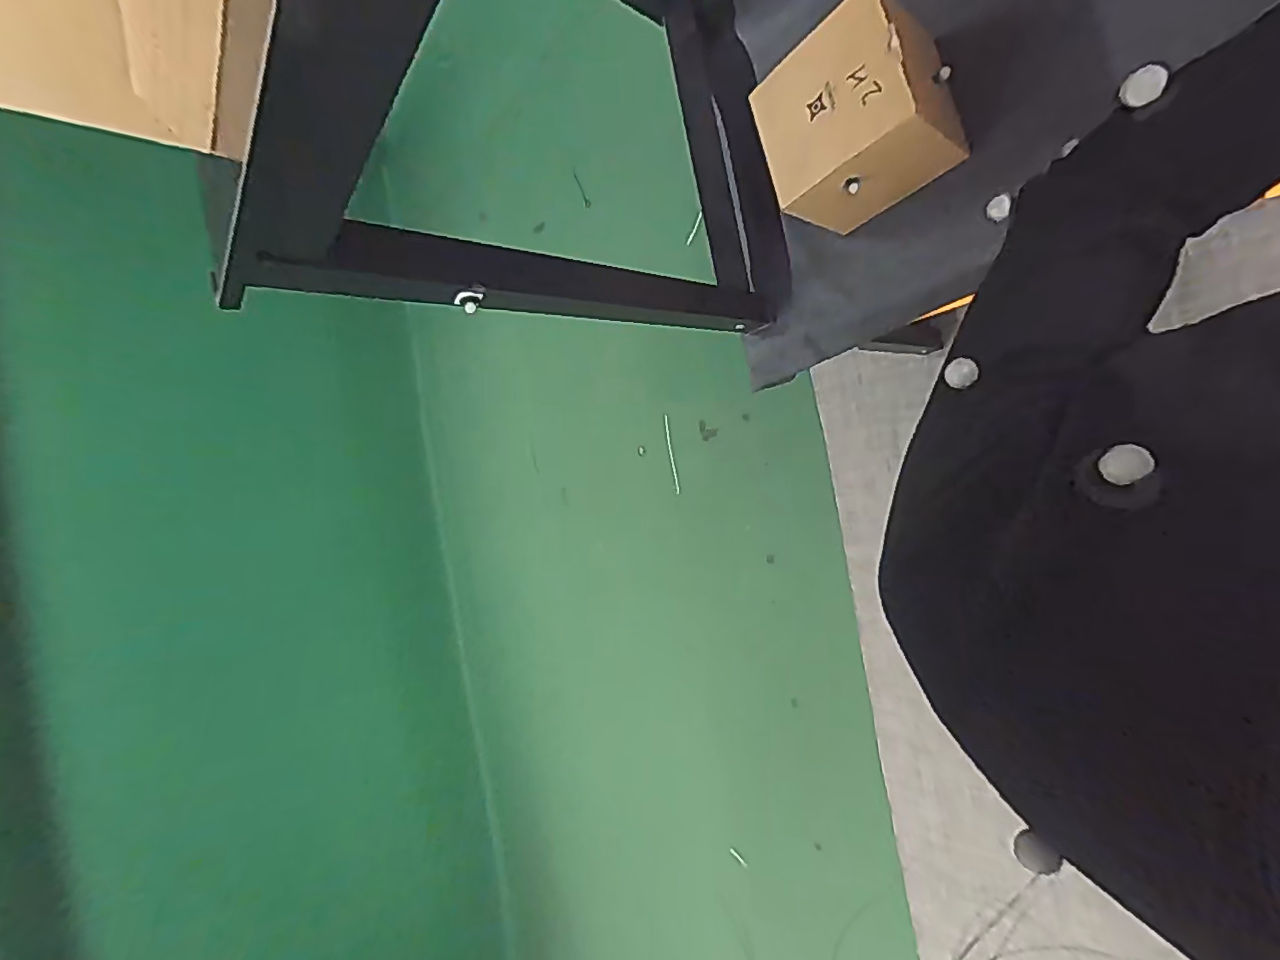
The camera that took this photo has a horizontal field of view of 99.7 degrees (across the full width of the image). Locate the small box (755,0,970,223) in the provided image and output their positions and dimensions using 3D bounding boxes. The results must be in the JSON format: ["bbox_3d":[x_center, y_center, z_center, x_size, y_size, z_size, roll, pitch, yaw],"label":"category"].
[{"bbox_3d":[0.281,-0.459,0.690,0.179,0.176,0.168,-20,82,48],"label":"small box"}]
